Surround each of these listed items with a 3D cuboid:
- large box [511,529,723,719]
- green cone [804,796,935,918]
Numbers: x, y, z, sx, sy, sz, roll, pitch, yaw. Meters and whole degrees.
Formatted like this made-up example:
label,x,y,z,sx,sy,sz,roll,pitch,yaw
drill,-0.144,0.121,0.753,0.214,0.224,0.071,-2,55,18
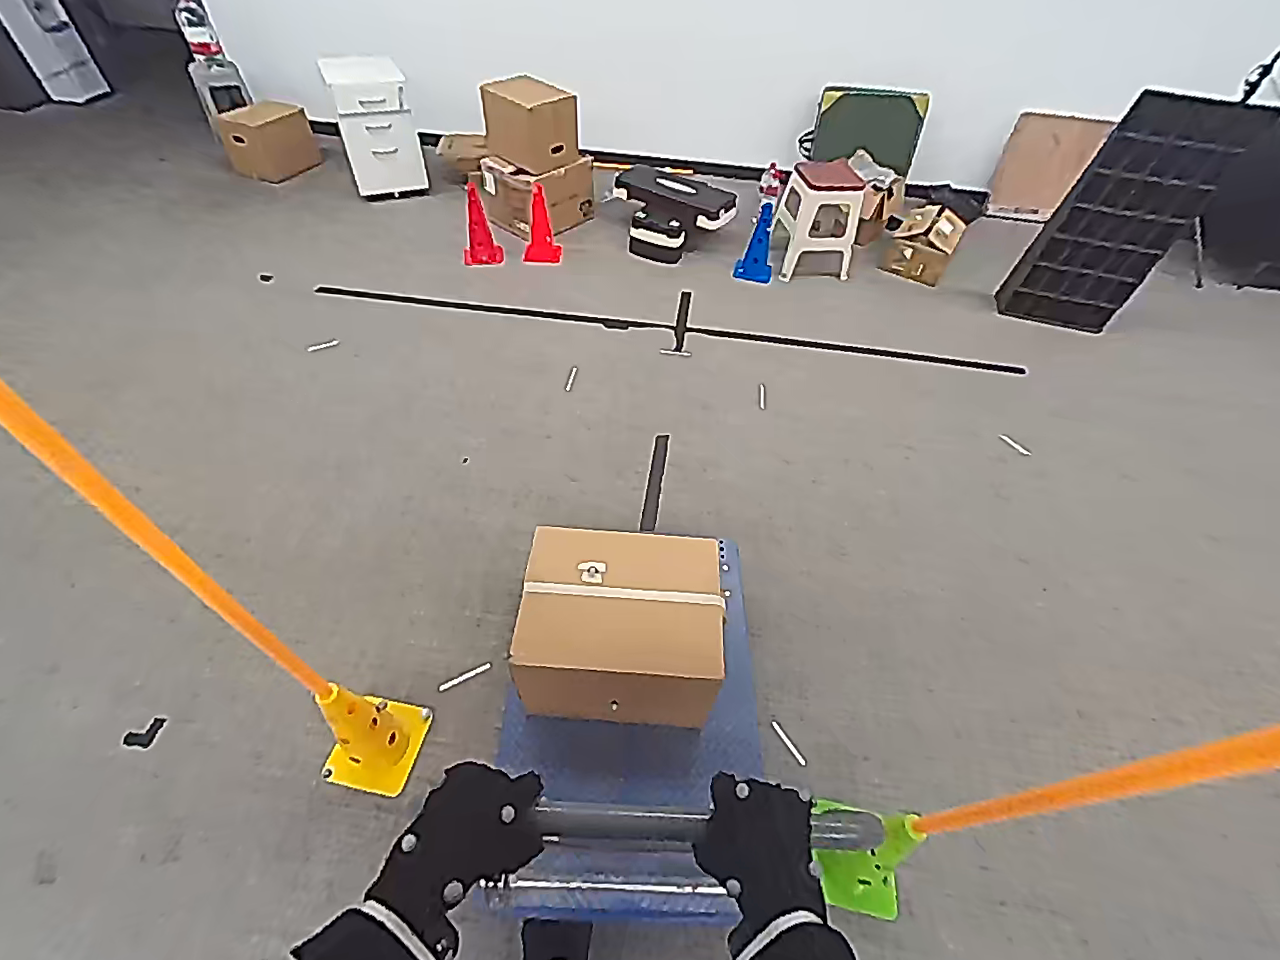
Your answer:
label,x,y,z,sx,sy,sz,roll,pitch,yaw
large box,-0.040,0.330,1.216,0.408,0.320,0.320,4,50,1
green cone,0.485,0.737,1.095,0.202,0.368,0.200,12,50,4
